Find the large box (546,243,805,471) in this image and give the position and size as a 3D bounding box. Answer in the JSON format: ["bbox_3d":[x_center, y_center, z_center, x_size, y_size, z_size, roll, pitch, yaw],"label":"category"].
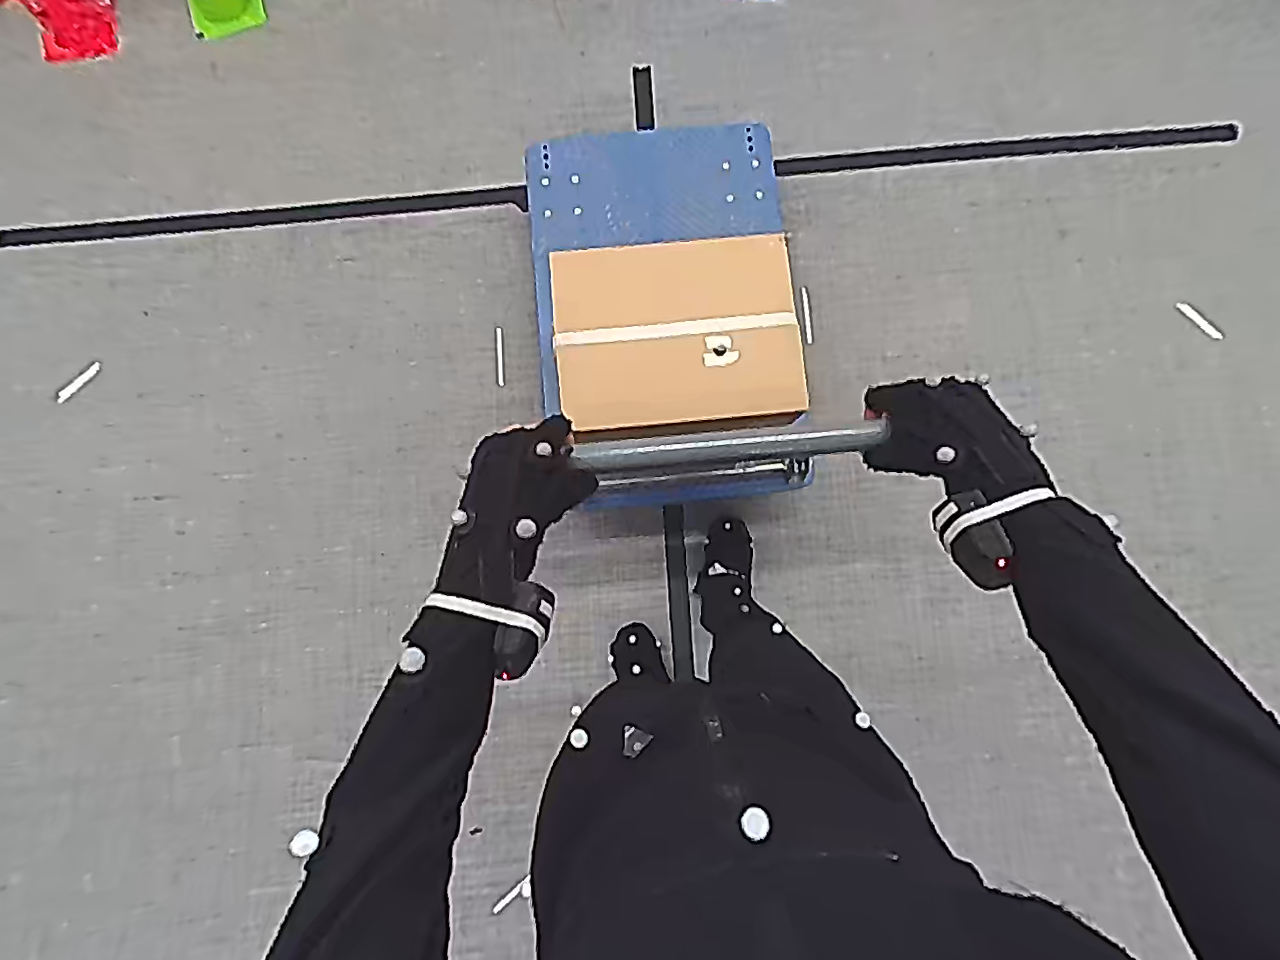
[{"bbox_3d":[0.052,-0.211,1.037,0.408,0.320,0.320,-5,83,-2],"label":"large box"}]
